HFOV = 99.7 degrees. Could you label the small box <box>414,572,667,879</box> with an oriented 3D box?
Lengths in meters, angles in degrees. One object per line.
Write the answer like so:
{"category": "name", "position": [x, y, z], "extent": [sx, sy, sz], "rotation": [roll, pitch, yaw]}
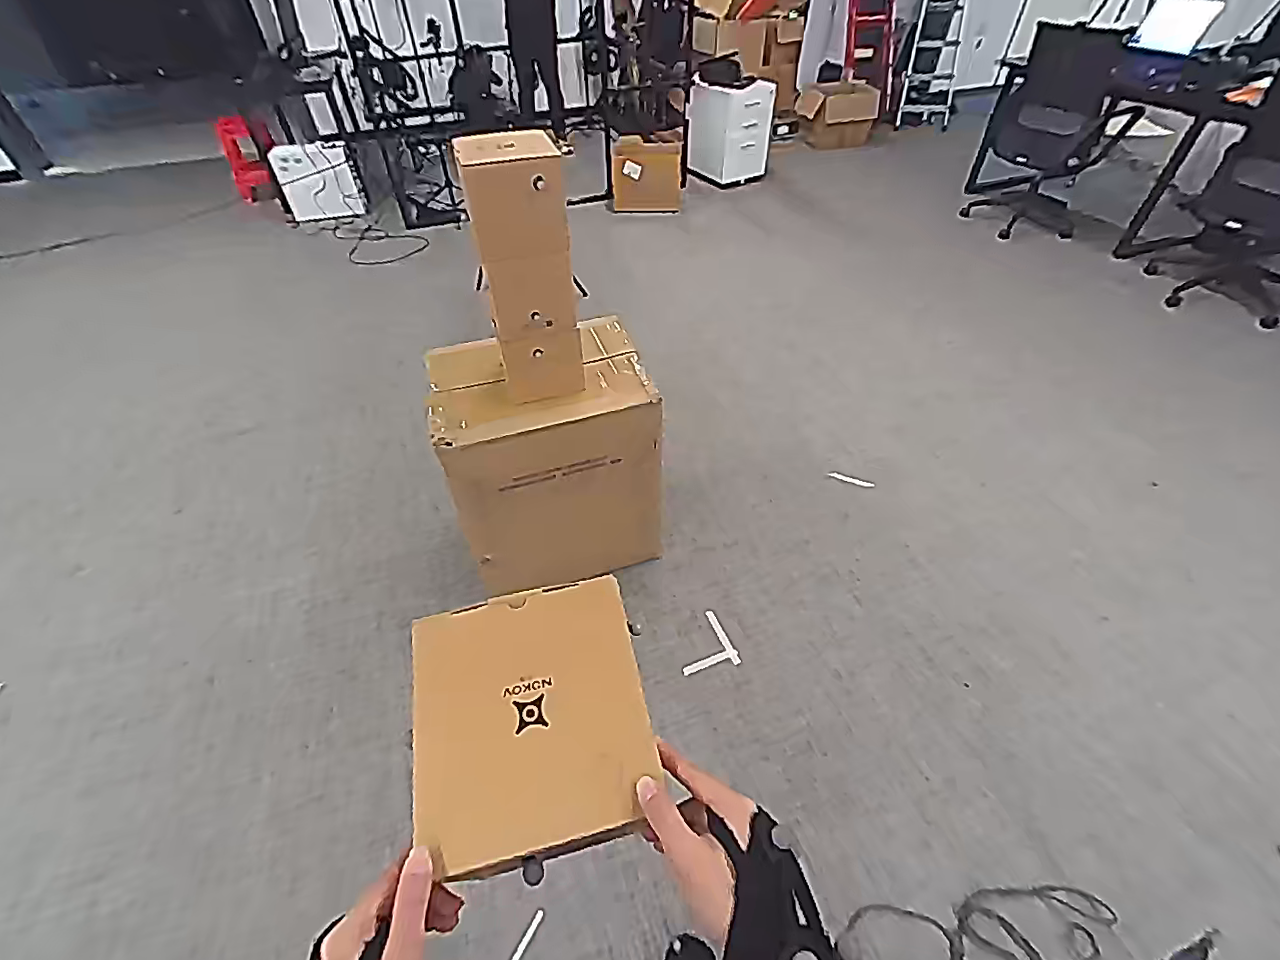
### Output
{"category": "small box", "position": [-0.077, 0.207, 0.454], "extent": [0.168, 0.176, 0.179], "rotation": [-12, 54, -8]}

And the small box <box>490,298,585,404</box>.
{"category": "small box", "position": [-0.236, -0.298, 1.263], "extent": [0.179, 0.176, 0.168], "rotation": [-14, 47, -13]}

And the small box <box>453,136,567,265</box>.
{"category": "small box", "position": [-0.243, -0.533, 1.032], "extent": [0.179, 0.176, 0.168], "rotation": [-15, 47, -12]}
